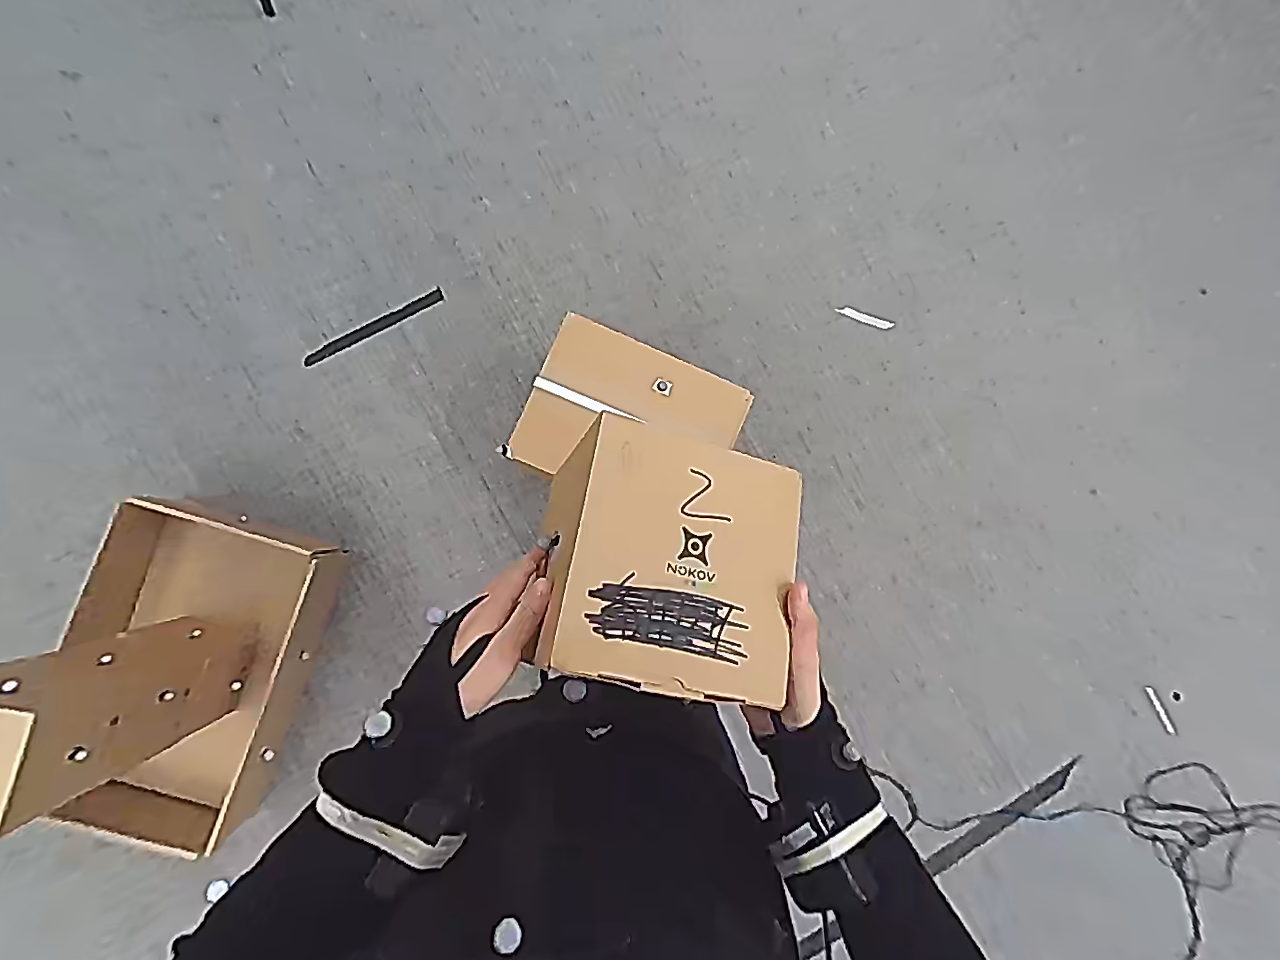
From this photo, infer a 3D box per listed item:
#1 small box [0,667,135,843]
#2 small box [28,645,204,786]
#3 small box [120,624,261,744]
[{"bbox_3d":[-0.902,0.383,0.783,0.179,0.176,0.168,13,83,-5],"label":"small box"},{"bbox_3d":[-0.923,0.400,0.946,0.179,0.176,0.168,13,84,-4],"label":"small box"},{"bbox_3d":[-0.935,0.405,1.107,0.179,0.176,0.168,18,85,-5],"label":"small box"}]
